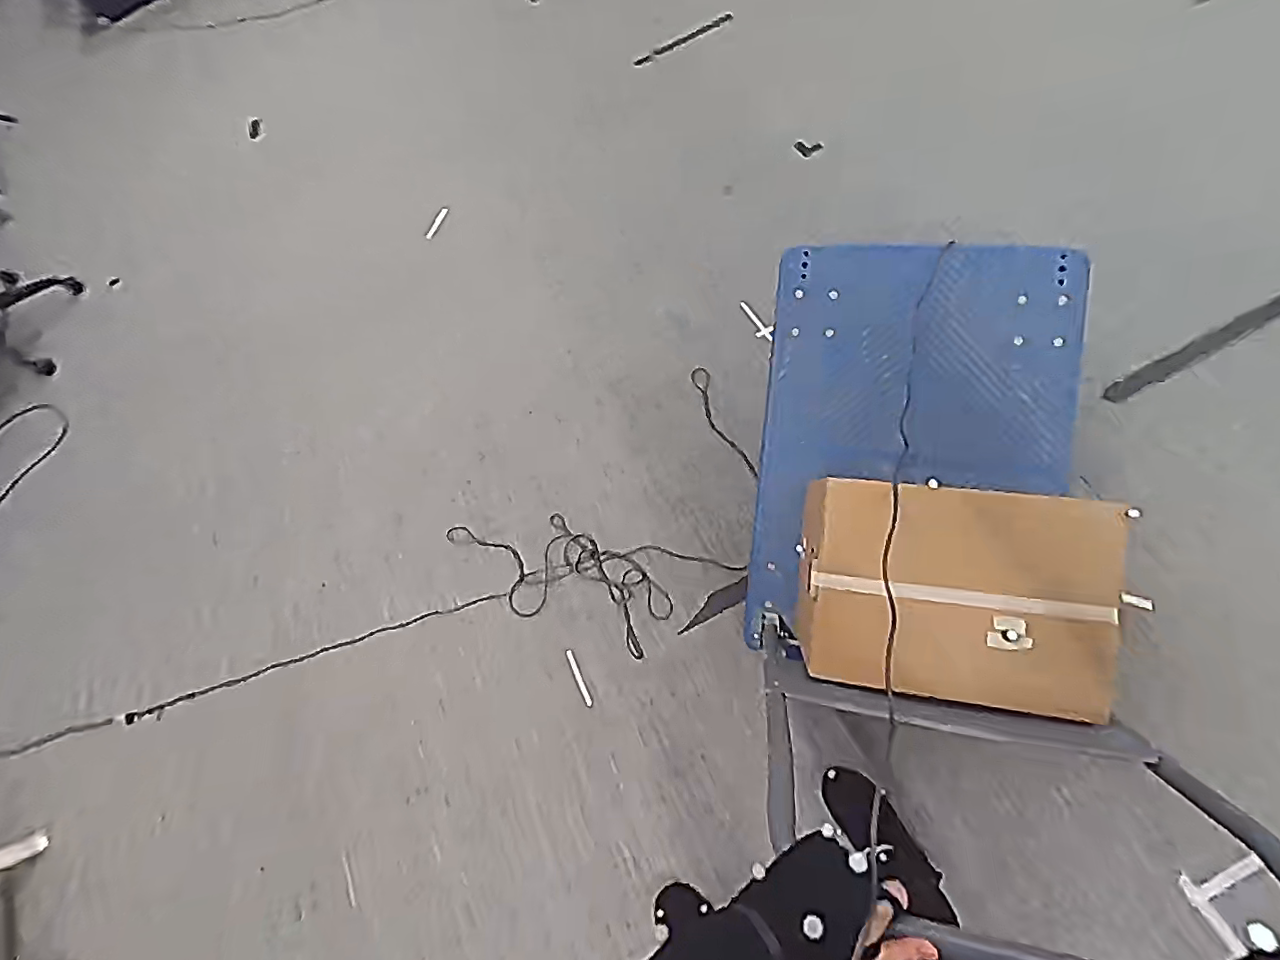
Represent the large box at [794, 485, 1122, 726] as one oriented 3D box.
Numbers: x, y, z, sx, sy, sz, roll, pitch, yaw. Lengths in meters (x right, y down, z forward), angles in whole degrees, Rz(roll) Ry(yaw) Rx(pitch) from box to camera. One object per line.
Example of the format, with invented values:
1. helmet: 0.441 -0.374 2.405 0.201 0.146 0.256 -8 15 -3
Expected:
1. large box: 0.494 0.180 0.937 0.408 0.320 0.320 6 91 11
